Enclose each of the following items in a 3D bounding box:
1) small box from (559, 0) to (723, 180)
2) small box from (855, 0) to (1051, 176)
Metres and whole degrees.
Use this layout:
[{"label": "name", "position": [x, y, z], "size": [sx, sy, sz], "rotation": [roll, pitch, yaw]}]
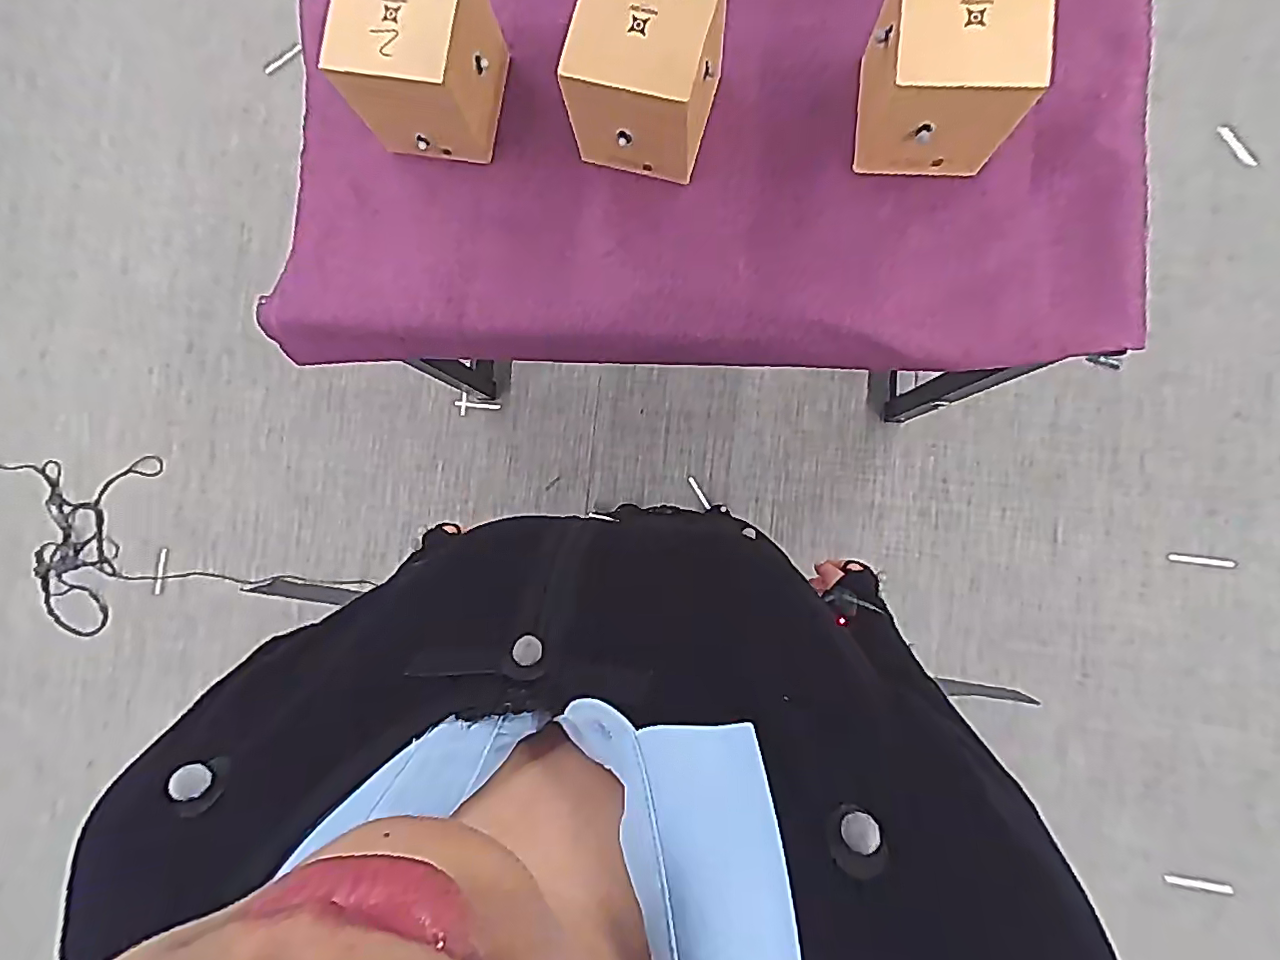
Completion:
[{"label": "small box", "position": [0.010, -0.542, 0.724], "size": [0.168, 0.176, 0.179], "rotation": [17, 88, 5]}, {"label": "small box", "position": [0.386, -0.520, 0.693], "size": [0.168, 0.176, 0.179], "rotation": [5, 87, 6]}]
